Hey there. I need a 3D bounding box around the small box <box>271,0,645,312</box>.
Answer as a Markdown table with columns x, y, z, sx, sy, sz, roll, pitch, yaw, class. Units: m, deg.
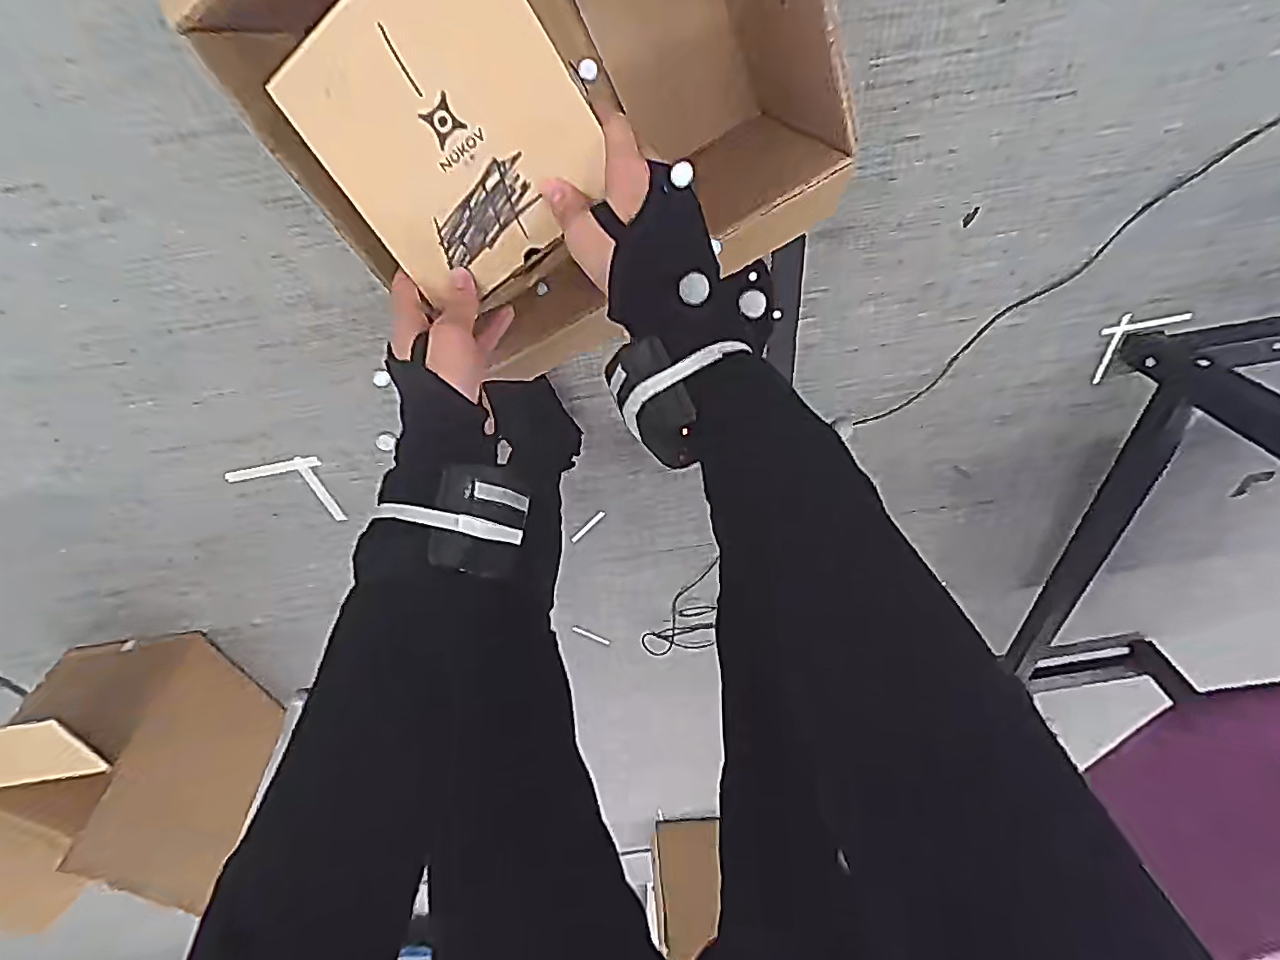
| x | y | z | sx | sy | sz | roll | pitch | yaw | class |
| --- | --- | --- | --- | --- | --- | --- | --- | --- | --- |
| -0.110 | -0.259 | 0.410 | 0.168 | 0.176 | 0.179 | -29 | 109 | 19 | small box |
